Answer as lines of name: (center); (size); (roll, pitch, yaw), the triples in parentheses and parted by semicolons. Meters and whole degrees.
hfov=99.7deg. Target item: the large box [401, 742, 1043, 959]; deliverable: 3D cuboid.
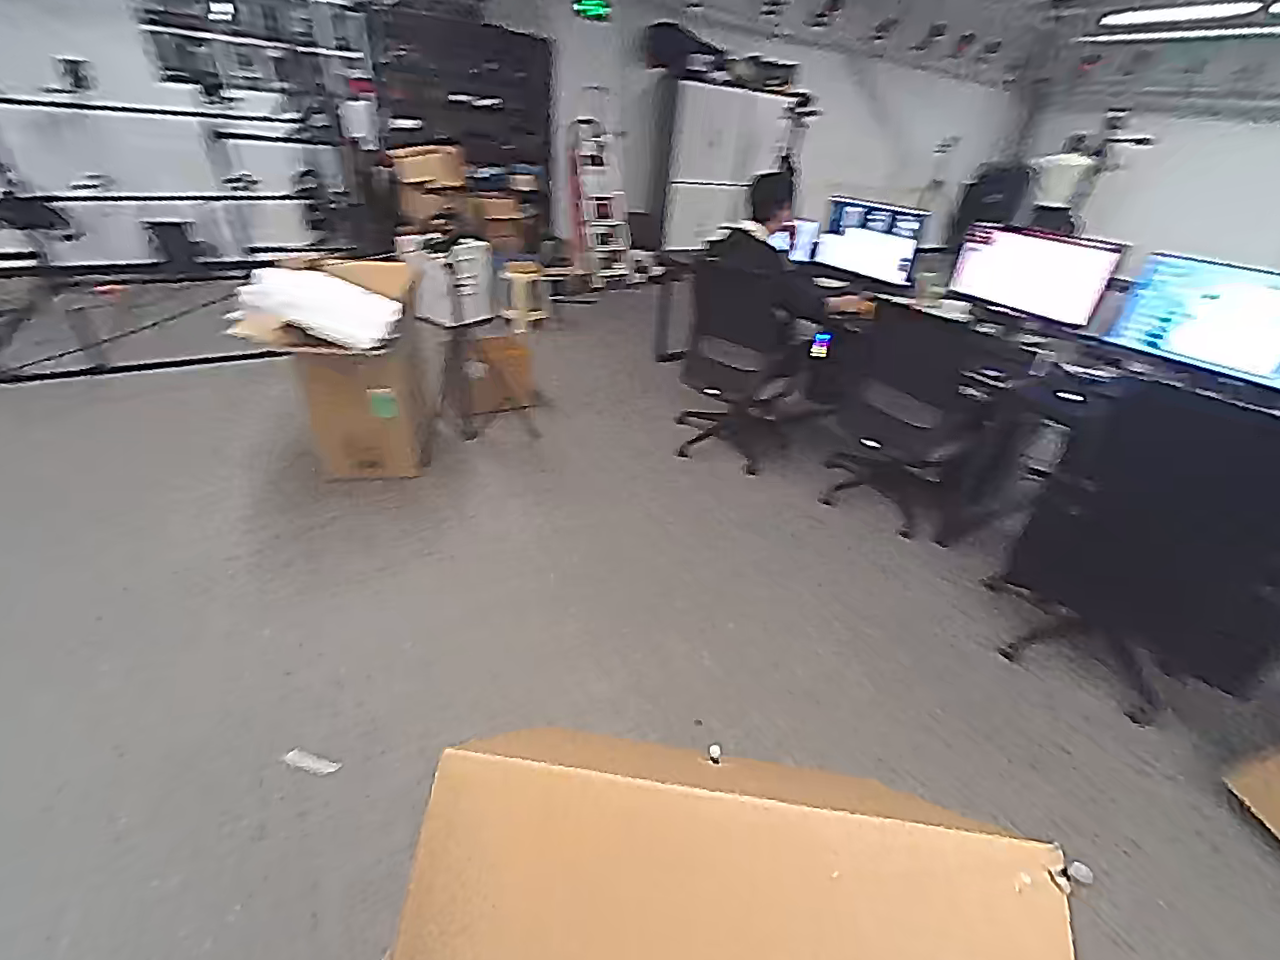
large box: (0.042, 0.414, 0.450); (0.408, 0.320, 0.320); (6, 69, 3)
